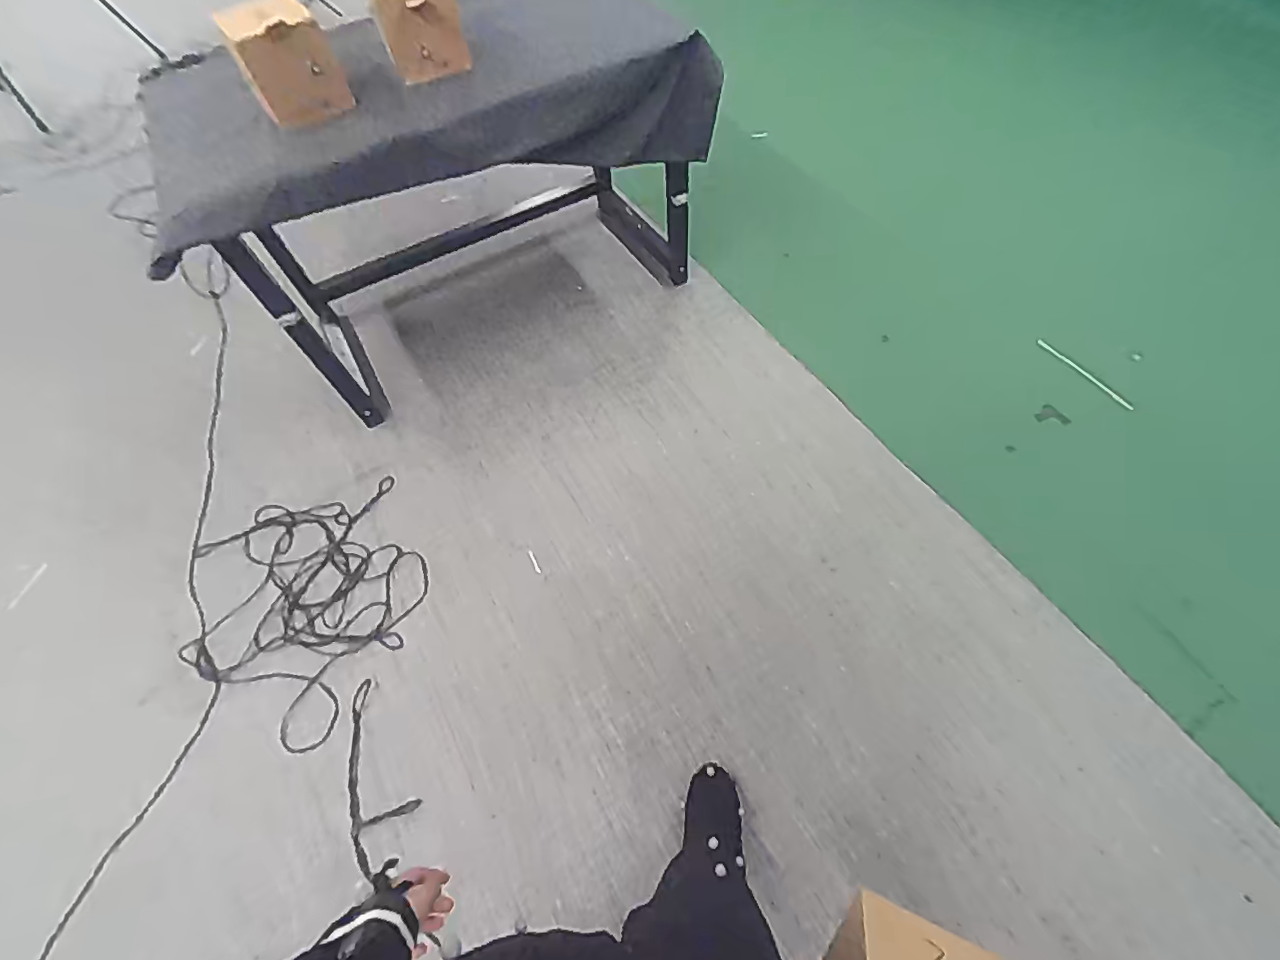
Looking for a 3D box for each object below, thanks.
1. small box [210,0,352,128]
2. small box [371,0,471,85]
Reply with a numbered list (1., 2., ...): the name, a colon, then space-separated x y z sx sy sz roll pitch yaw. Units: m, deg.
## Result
1. small box: -0.747 -0.879 1.142 0.168 0.176 0.179 -35 62 -18
2. small box: -0.500 -1.030 1.217 0.168 0.176 0.179 -22 60 -10
